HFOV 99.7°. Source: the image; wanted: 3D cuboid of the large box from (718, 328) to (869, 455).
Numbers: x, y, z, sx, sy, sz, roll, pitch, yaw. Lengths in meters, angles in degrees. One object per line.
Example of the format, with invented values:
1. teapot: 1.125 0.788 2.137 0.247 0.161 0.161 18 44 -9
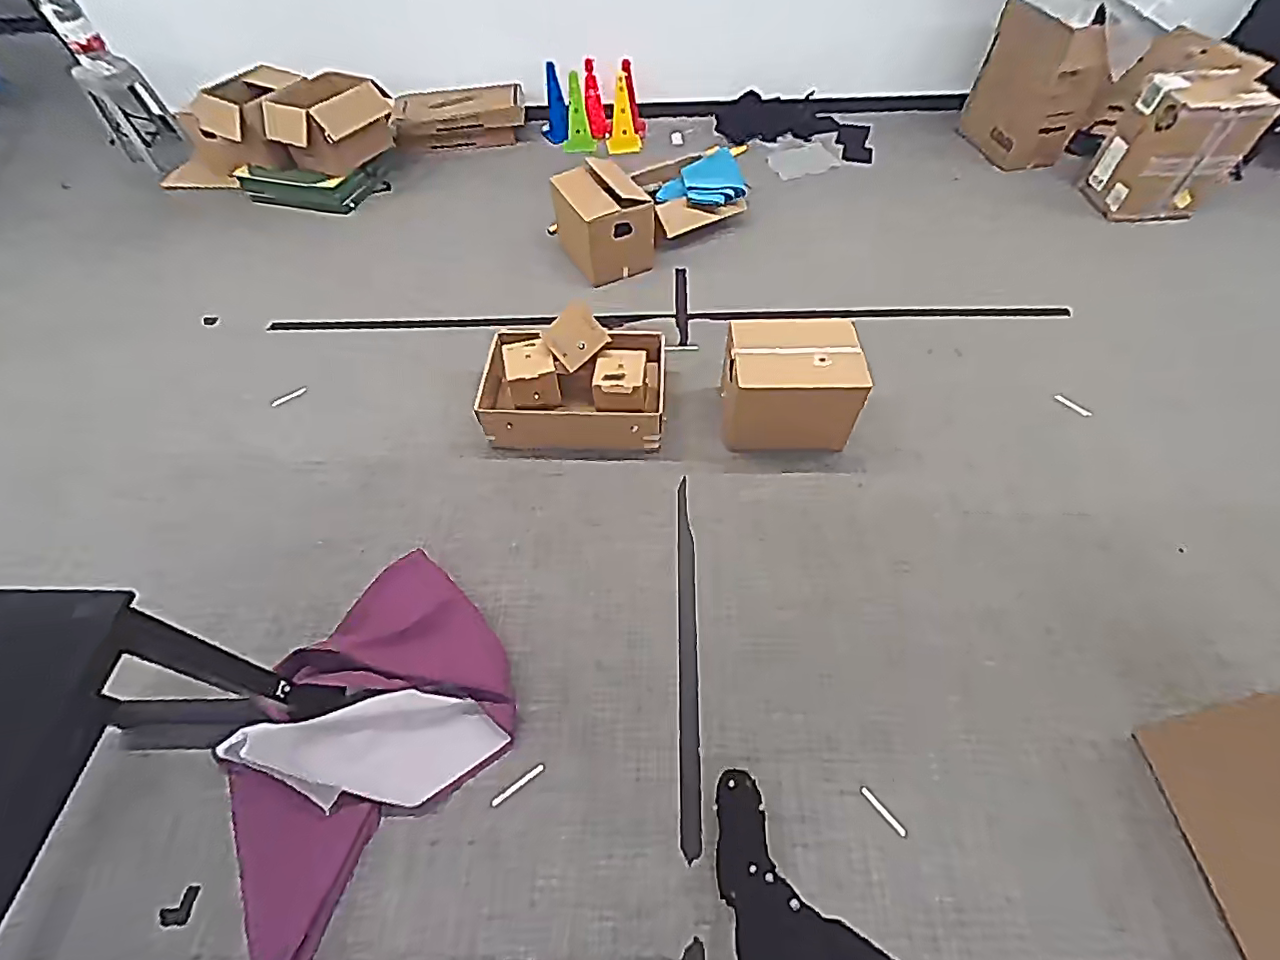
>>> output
1. large box: 0.492 -0.295 1.834 0.408 0.320 0.320 0 55 0
